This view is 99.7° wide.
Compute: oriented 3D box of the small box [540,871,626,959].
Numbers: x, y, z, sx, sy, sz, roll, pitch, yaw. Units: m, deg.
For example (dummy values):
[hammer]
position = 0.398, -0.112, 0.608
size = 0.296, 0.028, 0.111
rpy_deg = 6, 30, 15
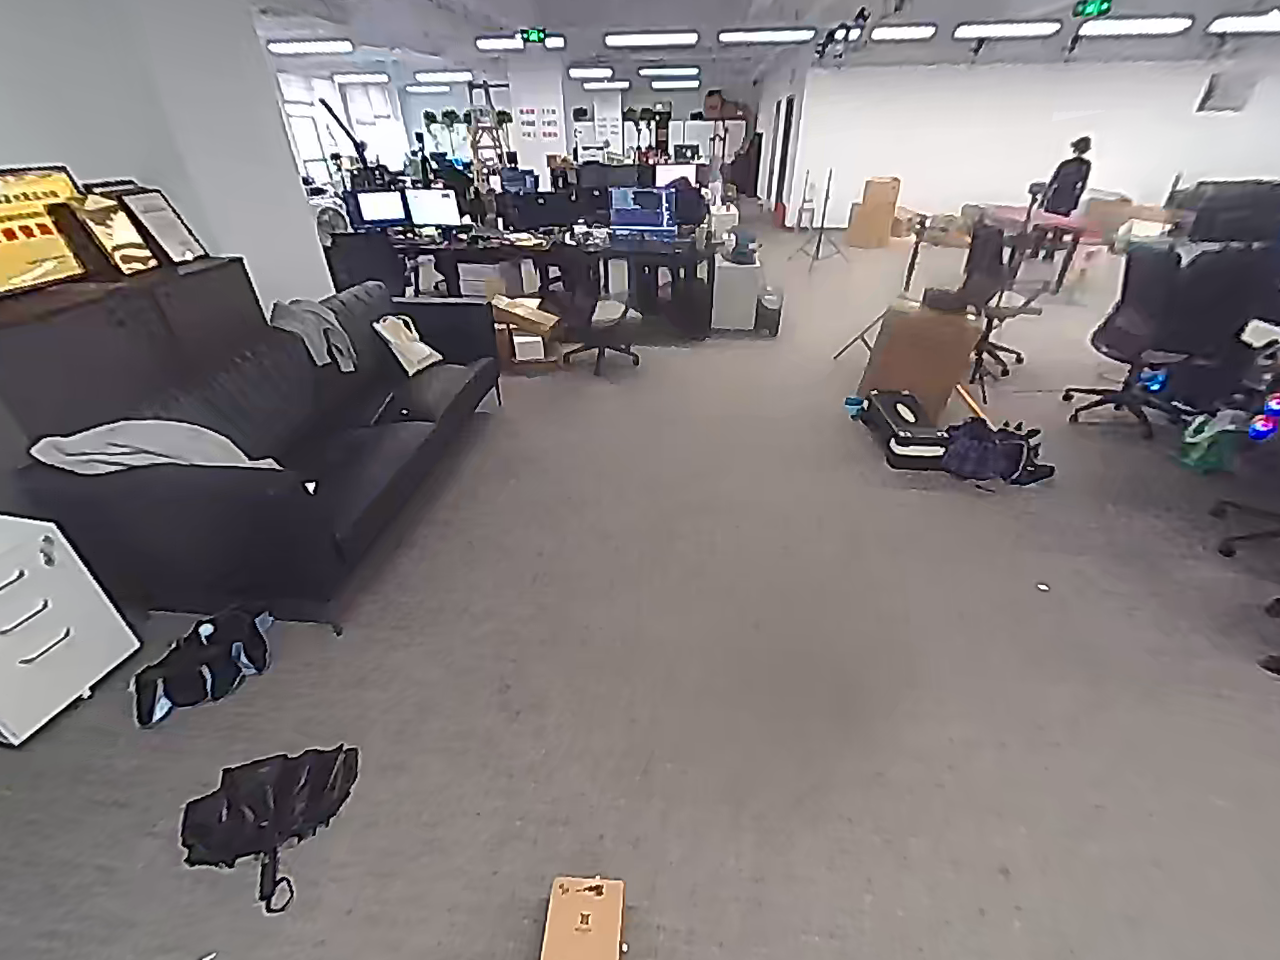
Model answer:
[small box]
position = -0.120, 1.020, 1.219
size = 0.168, 0.176, 0.179
rpy_deg = 1, 35, 3
